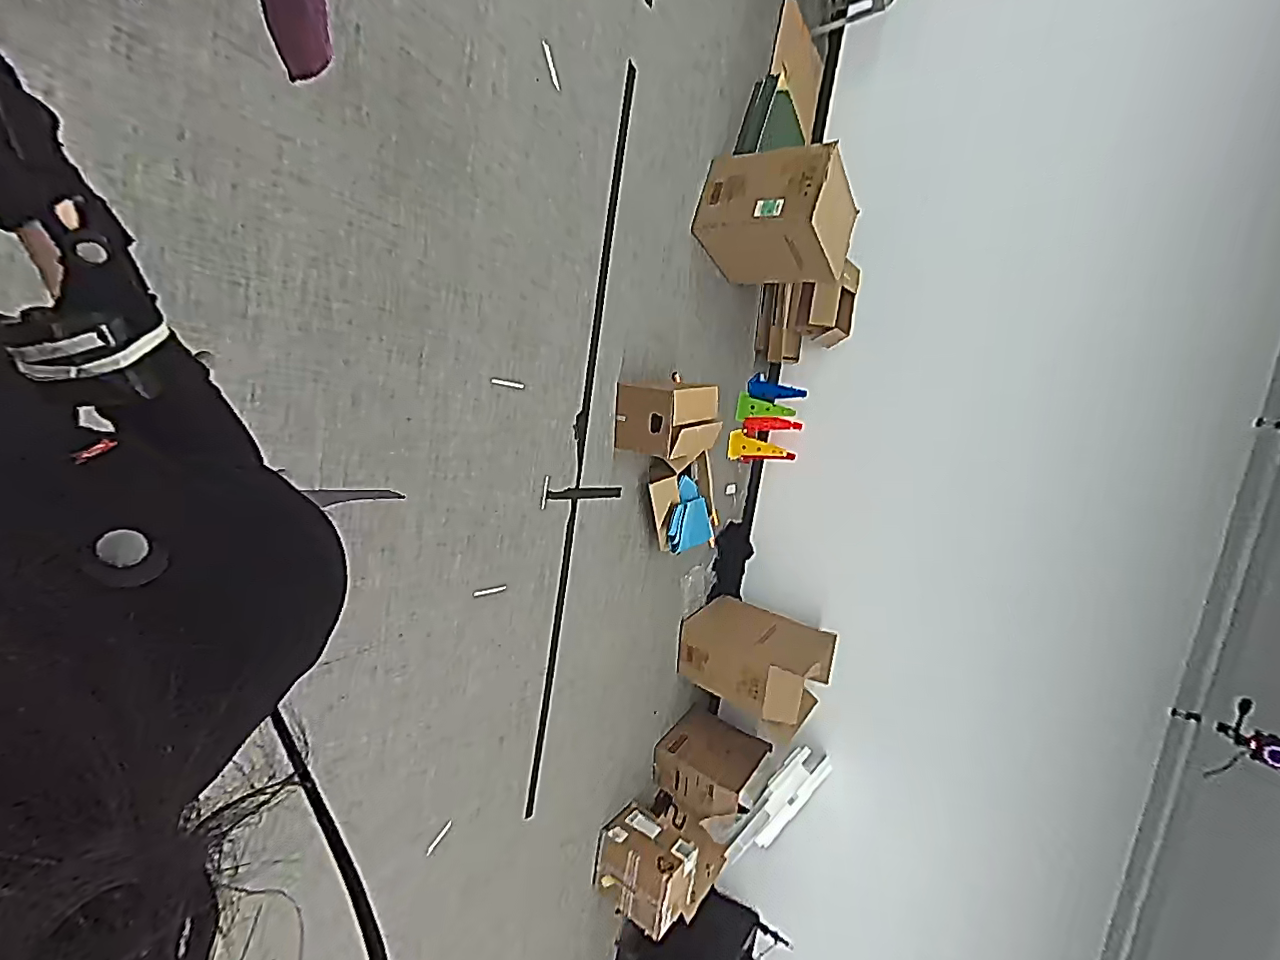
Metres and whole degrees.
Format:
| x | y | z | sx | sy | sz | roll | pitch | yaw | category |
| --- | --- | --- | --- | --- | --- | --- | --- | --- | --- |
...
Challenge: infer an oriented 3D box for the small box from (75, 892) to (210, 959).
| x | y | z | sx | sy | sz | roll | pitch | yaw | category |
| --- | --- | --- | --- | --- | --- | --- | --- | --- | --- |
| -1.200 | 1.149 | 1.297 | 0.179 | 0.176 | 0.168 | -48 | 139 | -38 | small box |
